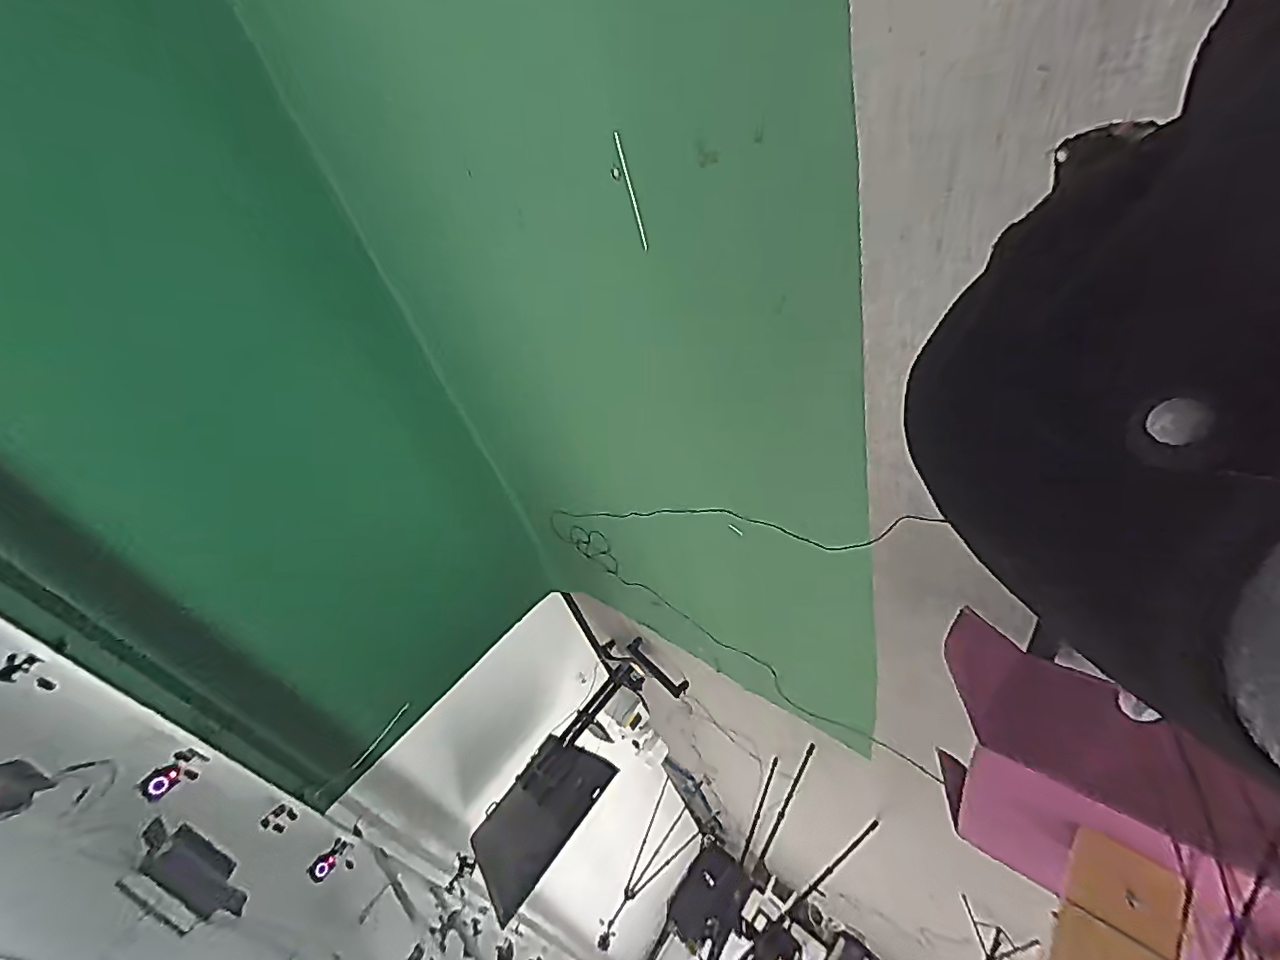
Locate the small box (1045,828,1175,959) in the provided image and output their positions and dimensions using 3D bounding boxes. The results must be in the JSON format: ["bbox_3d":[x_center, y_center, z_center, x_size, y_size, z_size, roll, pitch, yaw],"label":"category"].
[{"bbox_3d":[1.000,0.895,1.153,0.179,0.176,0.168,17,139,41],"label":"small box"}]

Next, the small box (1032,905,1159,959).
[{"bbox_3d":[0.894,0.992,1.072,0.179,0.176,0.168,18,141,40],"label":"small box"}]
